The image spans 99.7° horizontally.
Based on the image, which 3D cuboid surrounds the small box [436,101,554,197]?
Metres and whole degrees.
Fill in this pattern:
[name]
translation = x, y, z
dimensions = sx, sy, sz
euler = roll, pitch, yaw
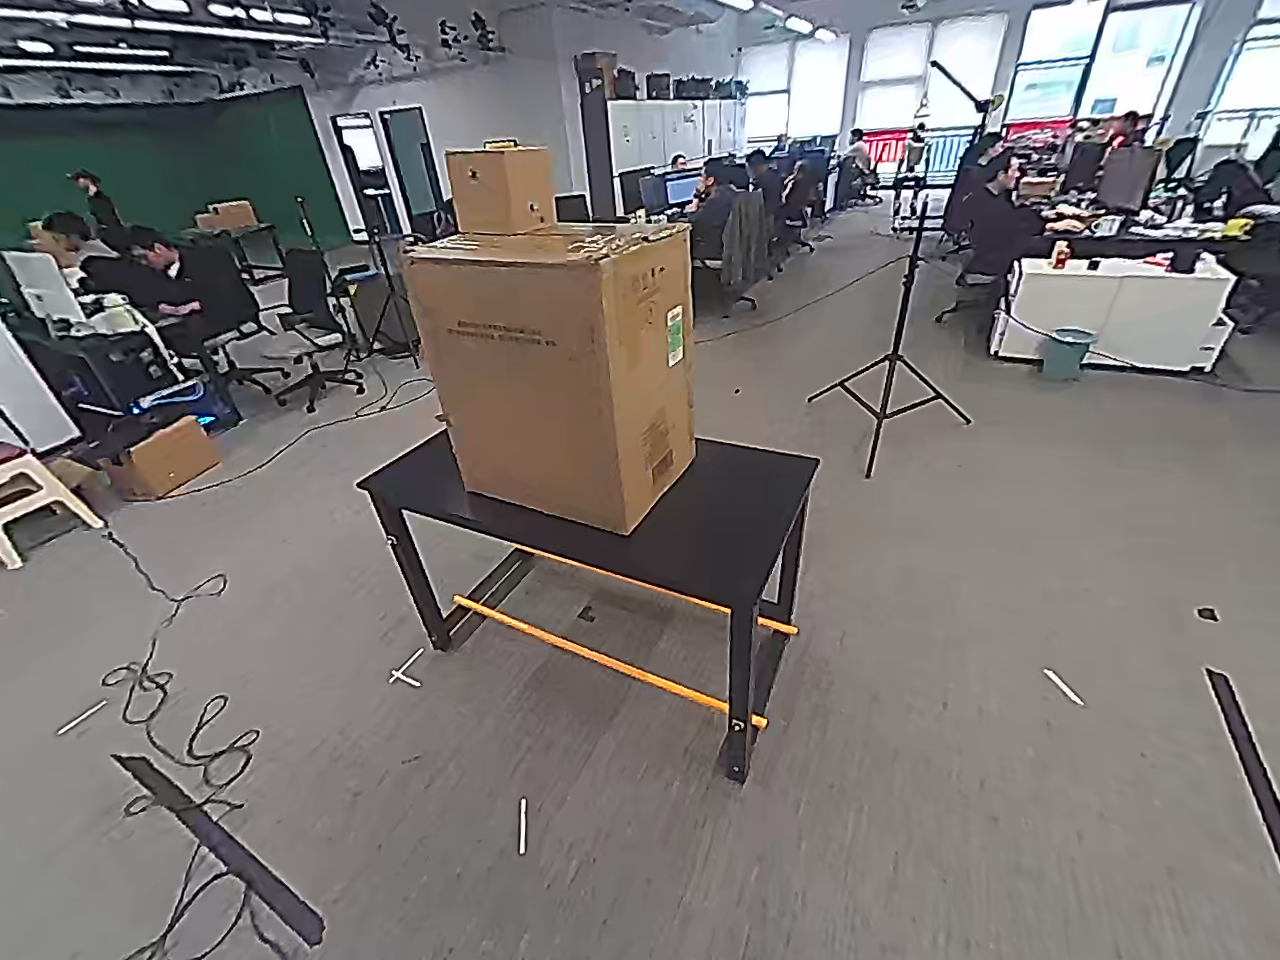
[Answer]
[small box]
translation = -0.312, -0.724, 1.192
dimensions = 0.179, 0.176, 0.168
euler = 15, 36, 24
